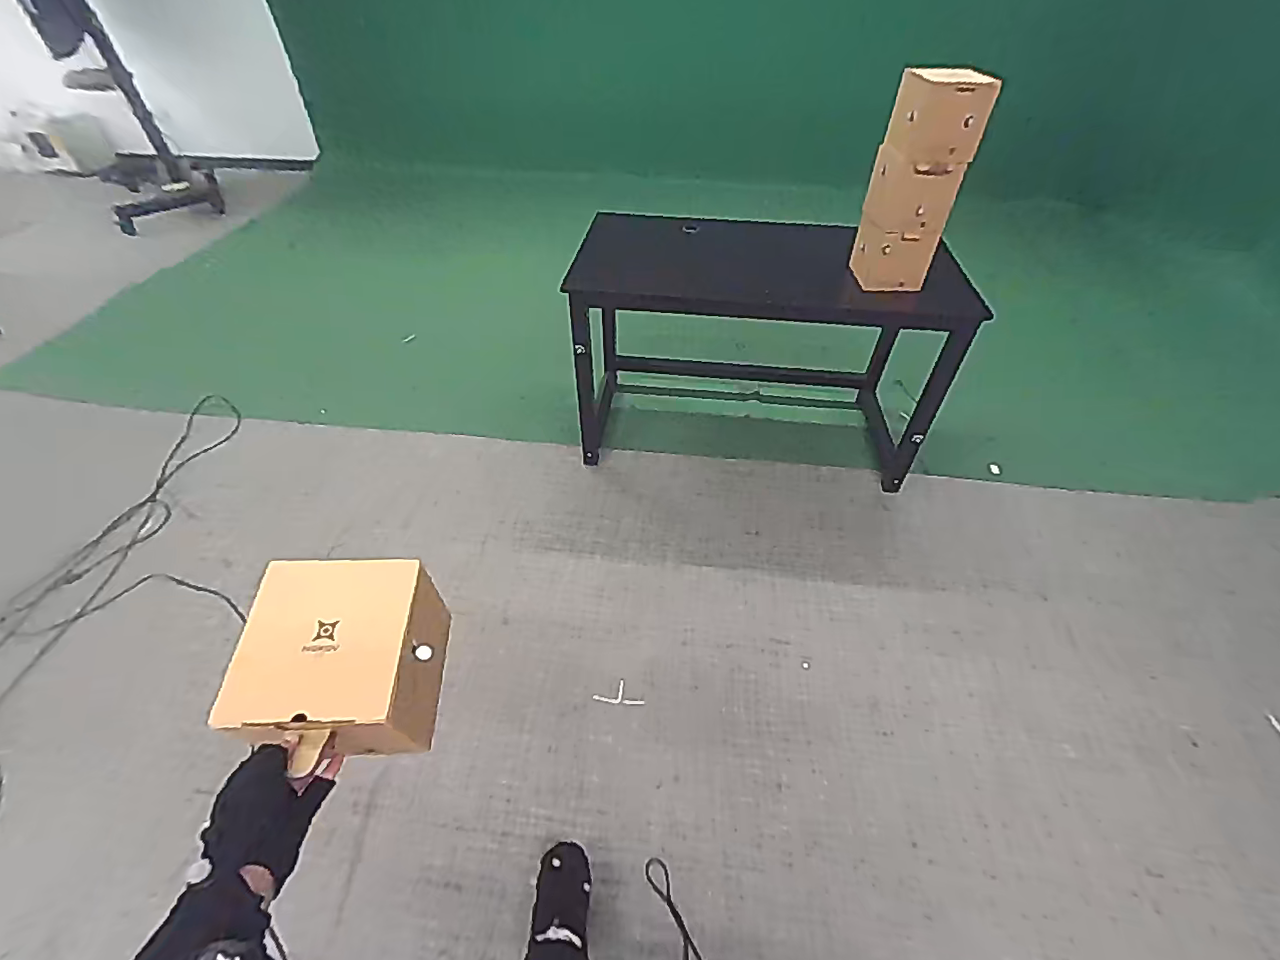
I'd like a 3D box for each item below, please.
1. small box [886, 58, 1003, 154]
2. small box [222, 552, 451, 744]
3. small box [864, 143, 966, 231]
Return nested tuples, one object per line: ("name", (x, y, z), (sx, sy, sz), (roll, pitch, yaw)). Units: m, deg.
("small box", (0.731, -0.912, 1.320), (0.168, 0.176, 0.179), (0, 45, -1))
("small box", (-0.329, 0.200, 0.636), (0.168, 0.176, 0.179), (1, 56, -5))
("small box", (0.723, -0.786, 1.449), (0.168, 0.176, 0.179), (-1, 45, 0))
